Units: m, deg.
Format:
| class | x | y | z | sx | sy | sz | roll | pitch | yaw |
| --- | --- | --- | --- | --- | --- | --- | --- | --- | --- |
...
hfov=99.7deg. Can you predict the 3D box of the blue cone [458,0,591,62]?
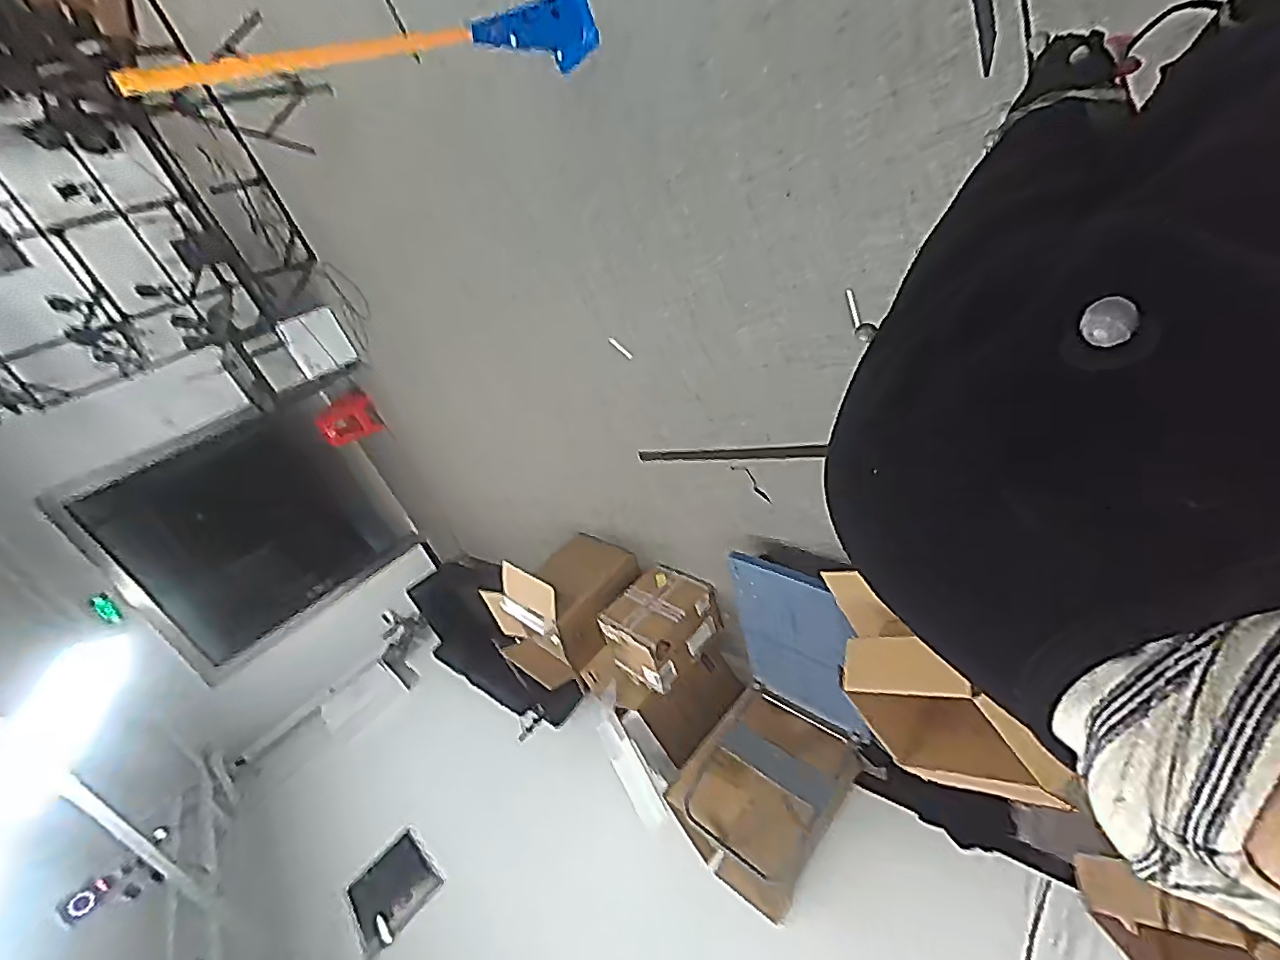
| class | x | y | z | sx | sy | sz | roll | pitch | yaw |
| --- | --- | --- | --- | --- | --- | --- | --- | --- | --- |
| blue cone | -0.331 | -1.277 | 1.496 | 0.193 | 0.380 | 0.192 | 6 | 127 | 48 |
